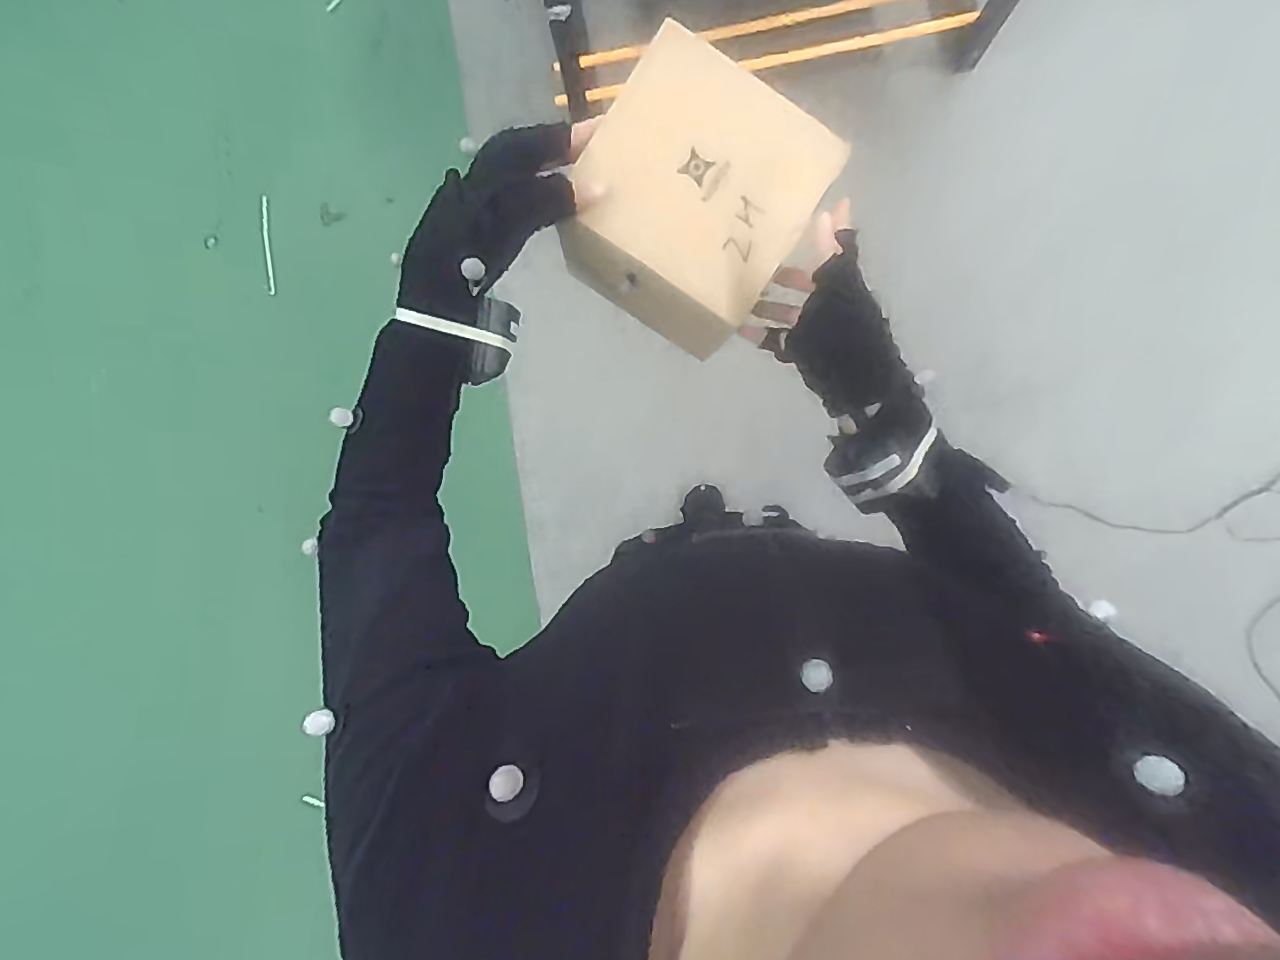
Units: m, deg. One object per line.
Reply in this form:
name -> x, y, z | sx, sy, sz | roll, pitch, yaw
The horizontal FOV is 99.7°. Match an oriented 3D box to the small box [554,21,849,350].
small box -> 0.044, -0.239, 0.495 | 0.179, 0.176, 0.168 | 33, 92, -5
